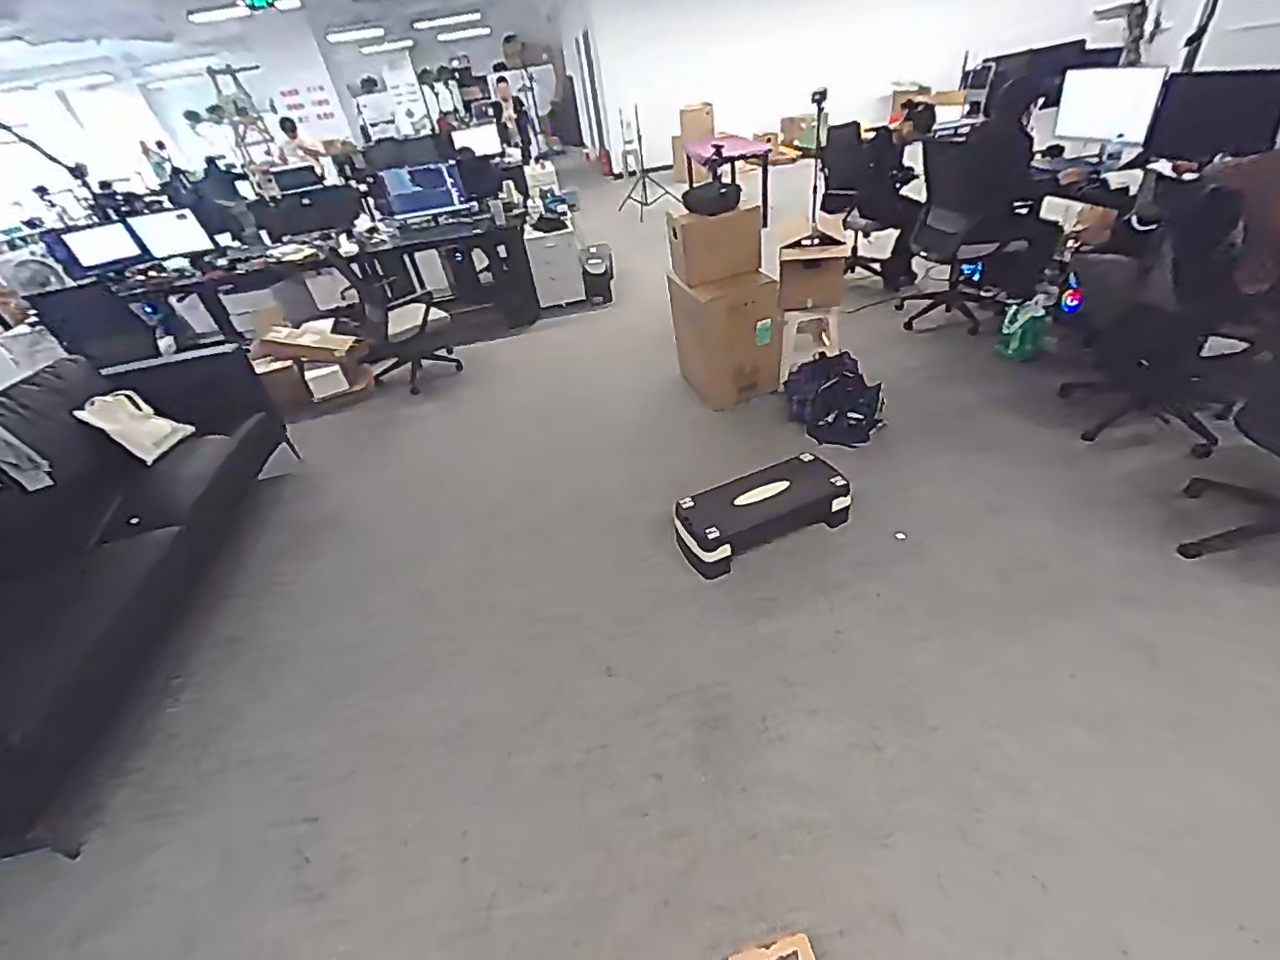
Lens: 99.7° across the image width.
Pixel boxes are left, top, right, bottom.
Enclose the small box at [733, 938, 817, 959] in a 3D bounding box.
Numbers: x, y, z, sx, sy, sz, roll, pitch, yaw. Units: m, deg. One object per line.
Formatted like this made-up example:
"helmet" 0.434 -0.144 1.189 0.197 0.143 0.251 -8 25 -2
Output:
"small box" 0.285 1.038 1.047 0.168 0.176 0.179 -14 37 -3
